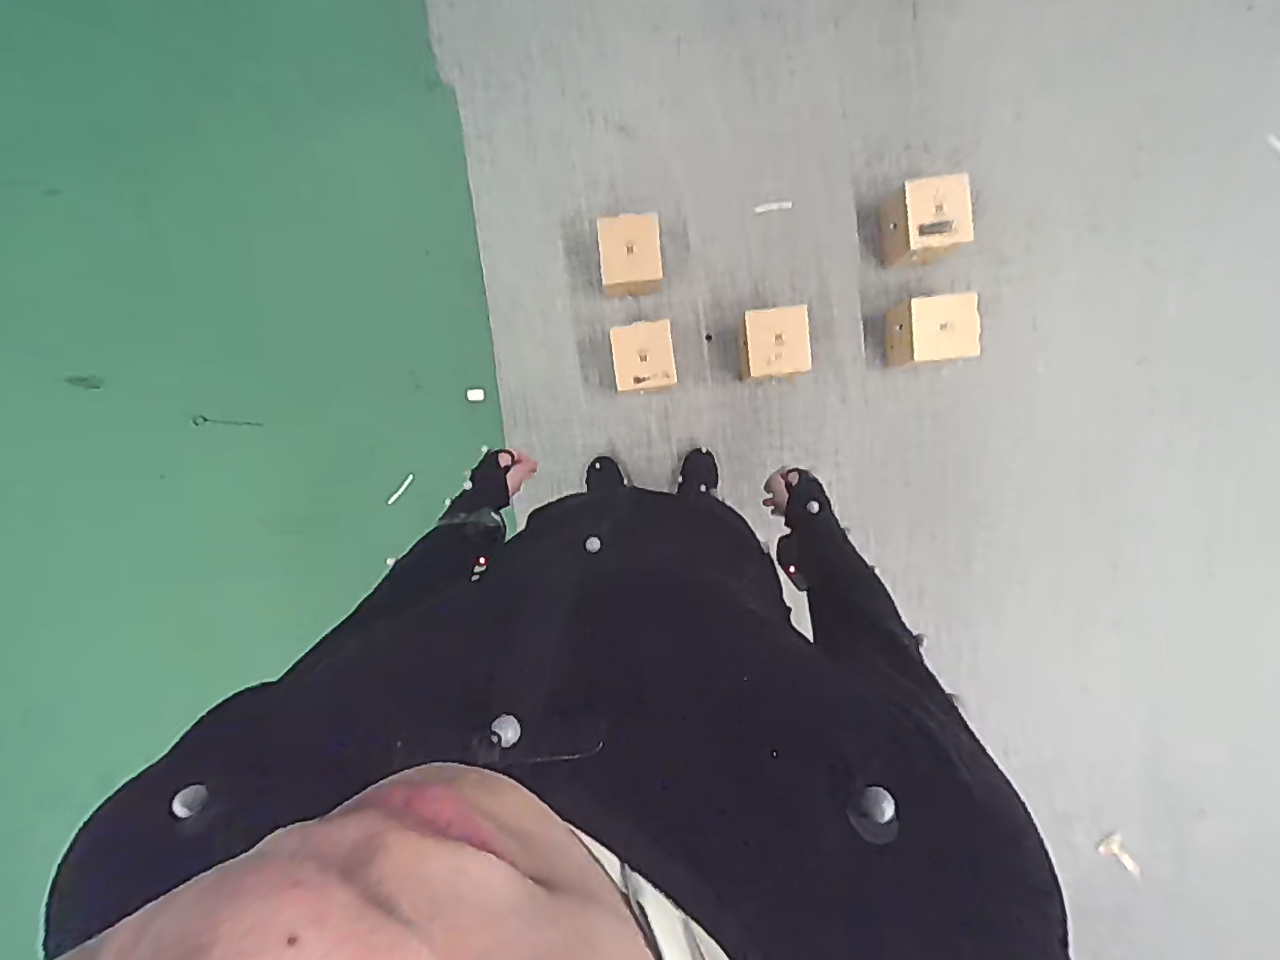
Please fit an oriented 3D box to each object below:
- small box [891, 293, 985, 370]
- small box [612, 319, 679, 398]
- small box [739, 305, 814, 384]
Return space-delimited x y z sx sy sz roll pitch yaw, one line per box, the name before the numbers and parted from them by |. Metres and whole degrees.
small box | 0.805 -0.401 1.482 0.179 0.176 0.168 -5 93 2
small box | 0.016 -0.335 1.517 0.168 0.176 0.179 -7 92 3
small box | 0.372 -0.369 1.500 0.168 0.176 0.179 -5 93 3
